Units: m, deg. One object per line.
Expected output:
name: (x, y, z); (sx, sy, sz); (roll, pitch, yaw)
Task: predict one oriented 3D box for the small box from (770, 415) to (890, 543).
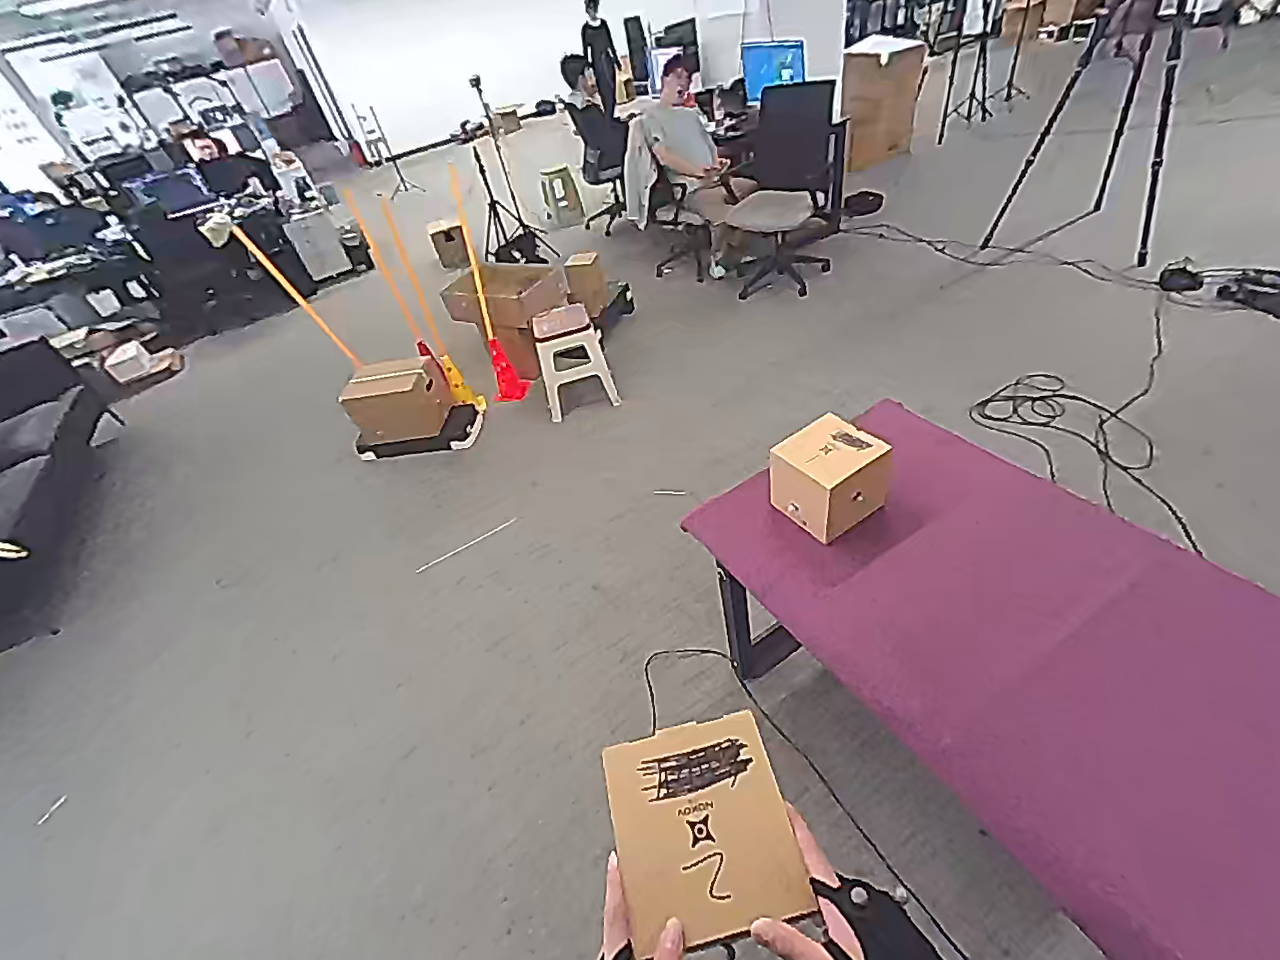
small box: (0.394, -0.003, 1.146); (0.179, 0.176, 0.168); (-30, 44, -17)
